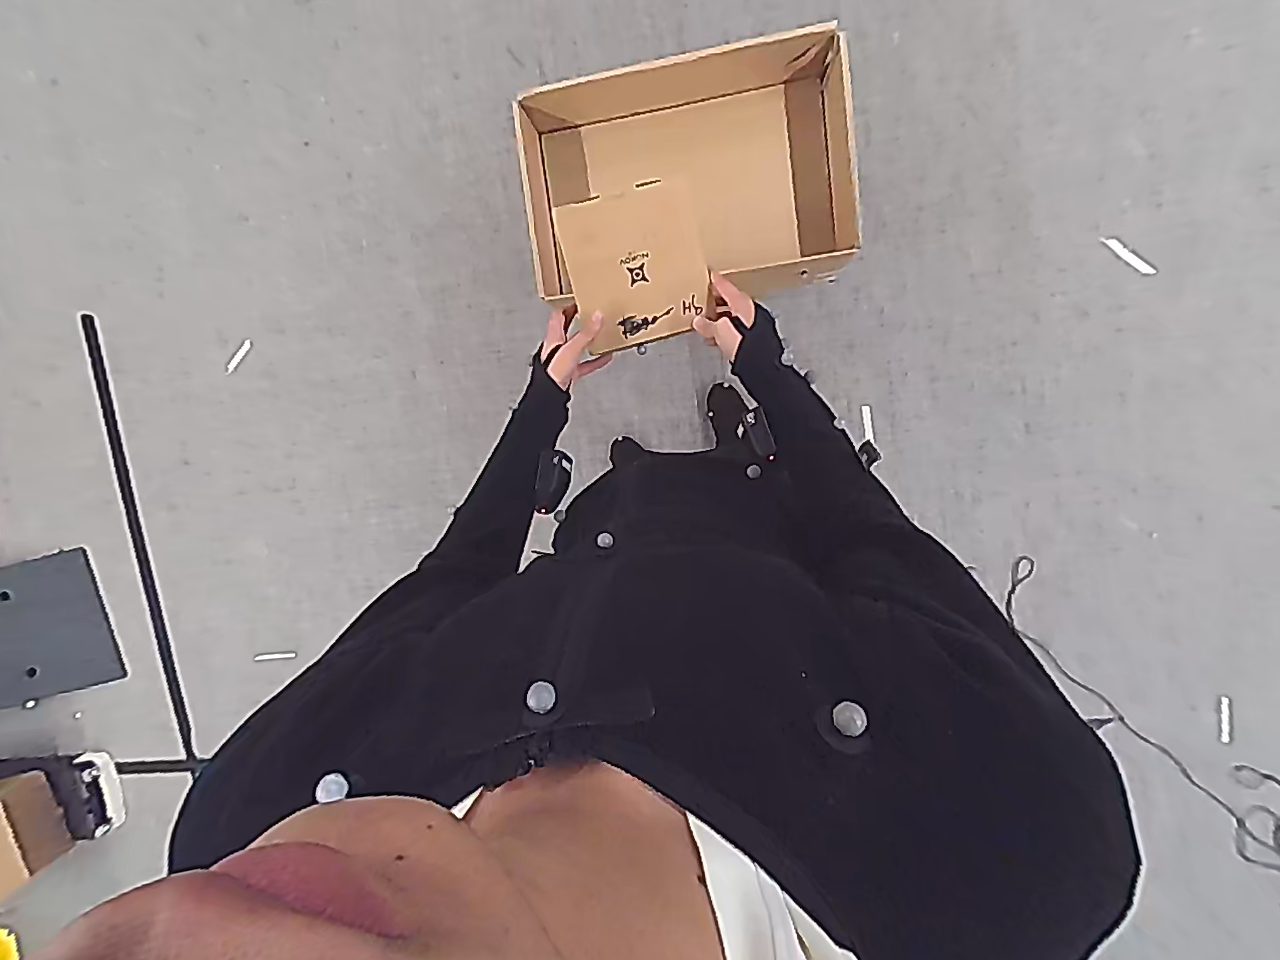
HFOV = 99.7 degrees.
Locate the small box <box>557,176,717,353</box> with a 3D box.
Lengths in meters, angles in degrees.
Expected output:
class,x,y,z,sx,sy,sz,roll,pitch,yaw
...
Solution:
class,x,y,z,sx,sy,sz,roll,pitch,yaw
small box,-0.005,-0.275,0.731,0.168,0.176,0.179,-14,104,2
